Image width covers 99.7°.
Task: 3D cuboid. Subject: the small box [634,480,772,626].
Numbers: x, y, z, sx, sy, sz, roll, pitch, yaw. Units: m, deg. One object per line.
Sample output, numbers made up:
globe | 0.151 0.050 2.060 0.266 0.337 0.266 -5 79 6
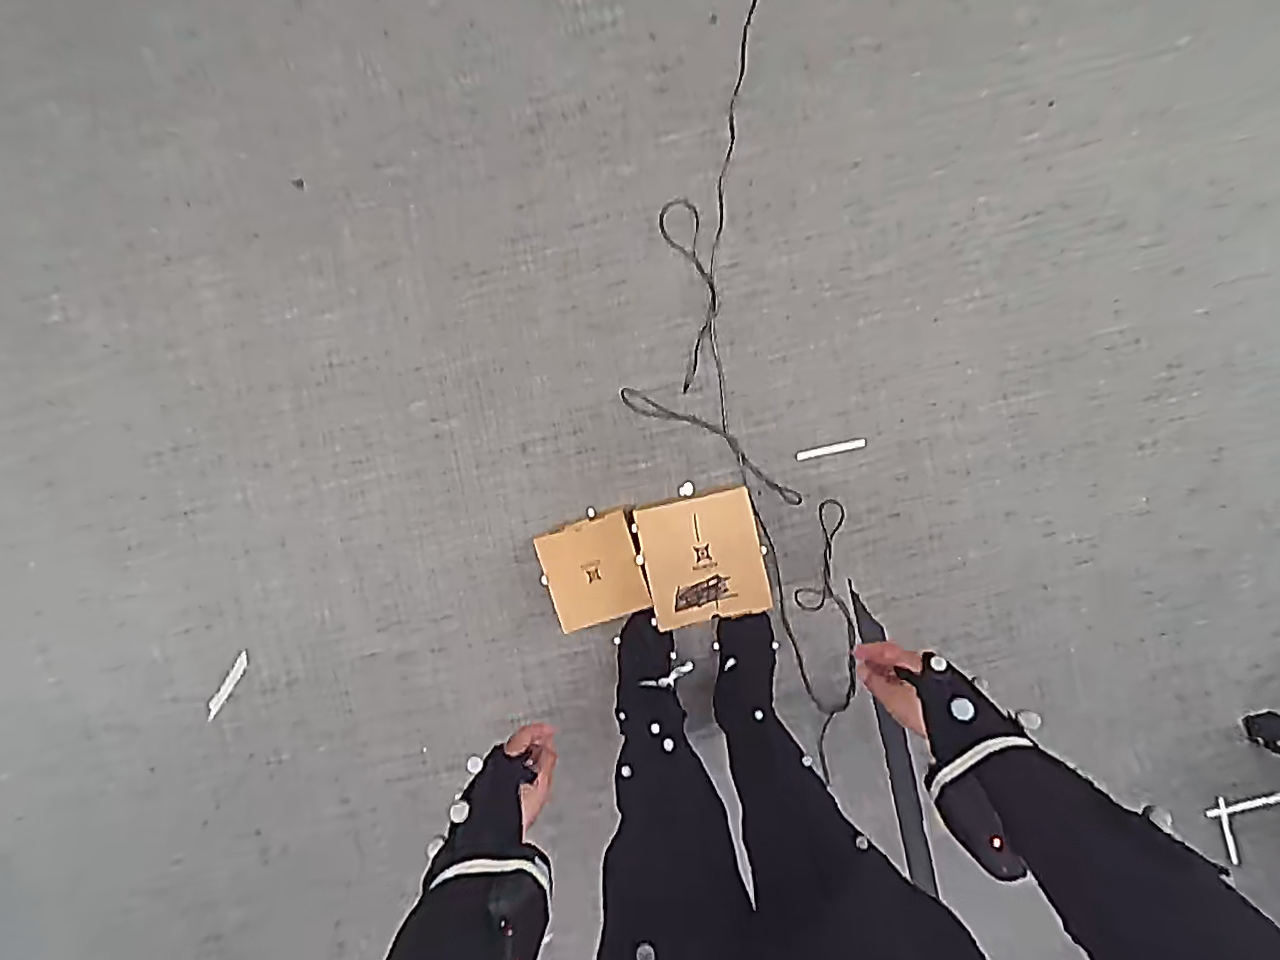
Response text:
small box | 0.091 0.101 0.826 0.168 0.176 0.179 -13 90 2
